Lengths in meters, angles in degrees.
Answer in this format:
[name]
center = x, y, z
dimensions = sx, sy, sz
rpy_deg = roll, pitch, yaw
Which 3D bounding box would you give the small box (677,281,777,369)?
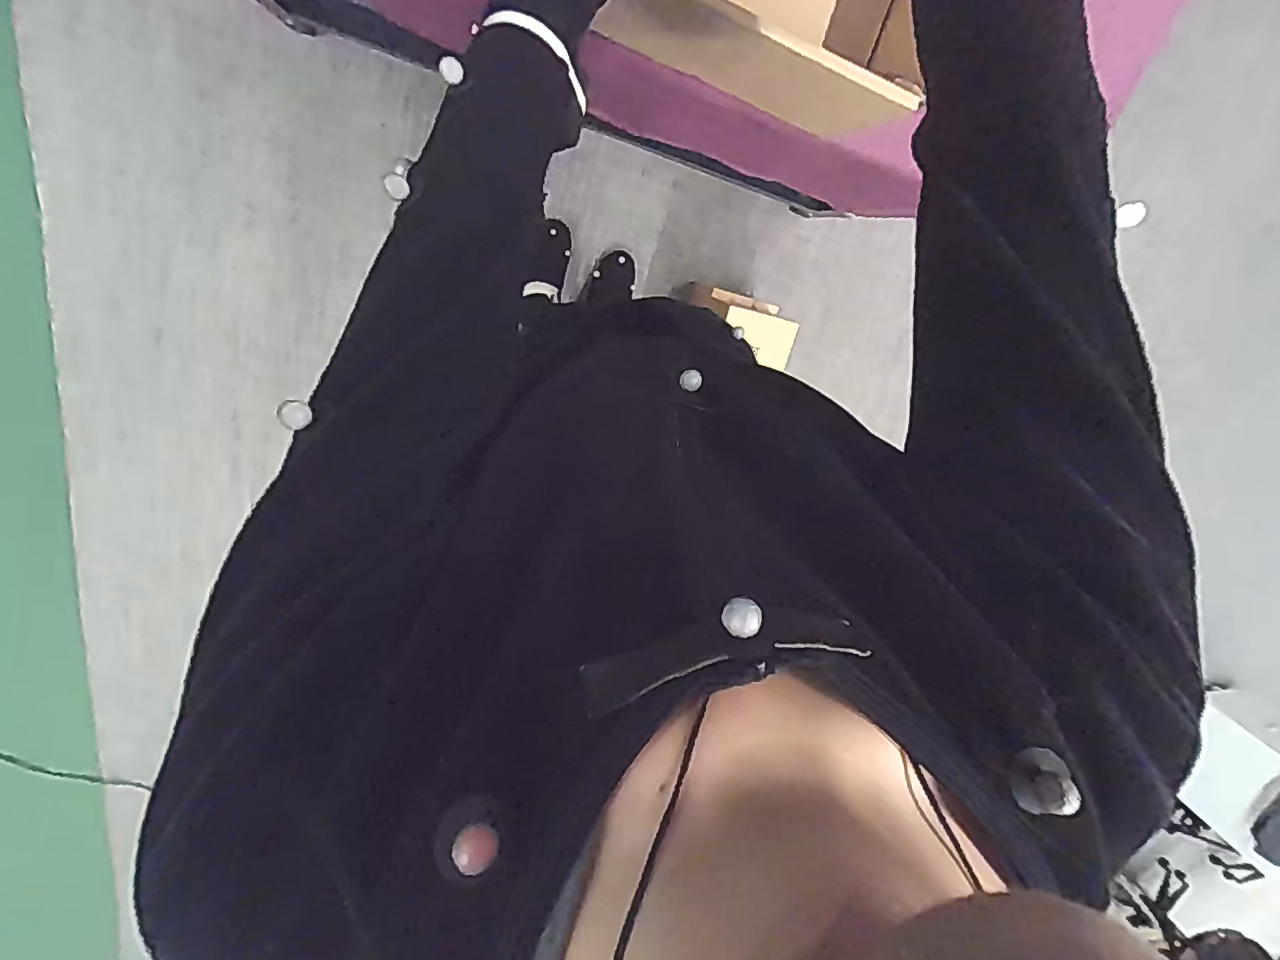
[small box]
center = 0.212, -0.397, 1.371
dimensions = 0.179, 0.176, 0.168
rpy_deg = 10, 113, -15
